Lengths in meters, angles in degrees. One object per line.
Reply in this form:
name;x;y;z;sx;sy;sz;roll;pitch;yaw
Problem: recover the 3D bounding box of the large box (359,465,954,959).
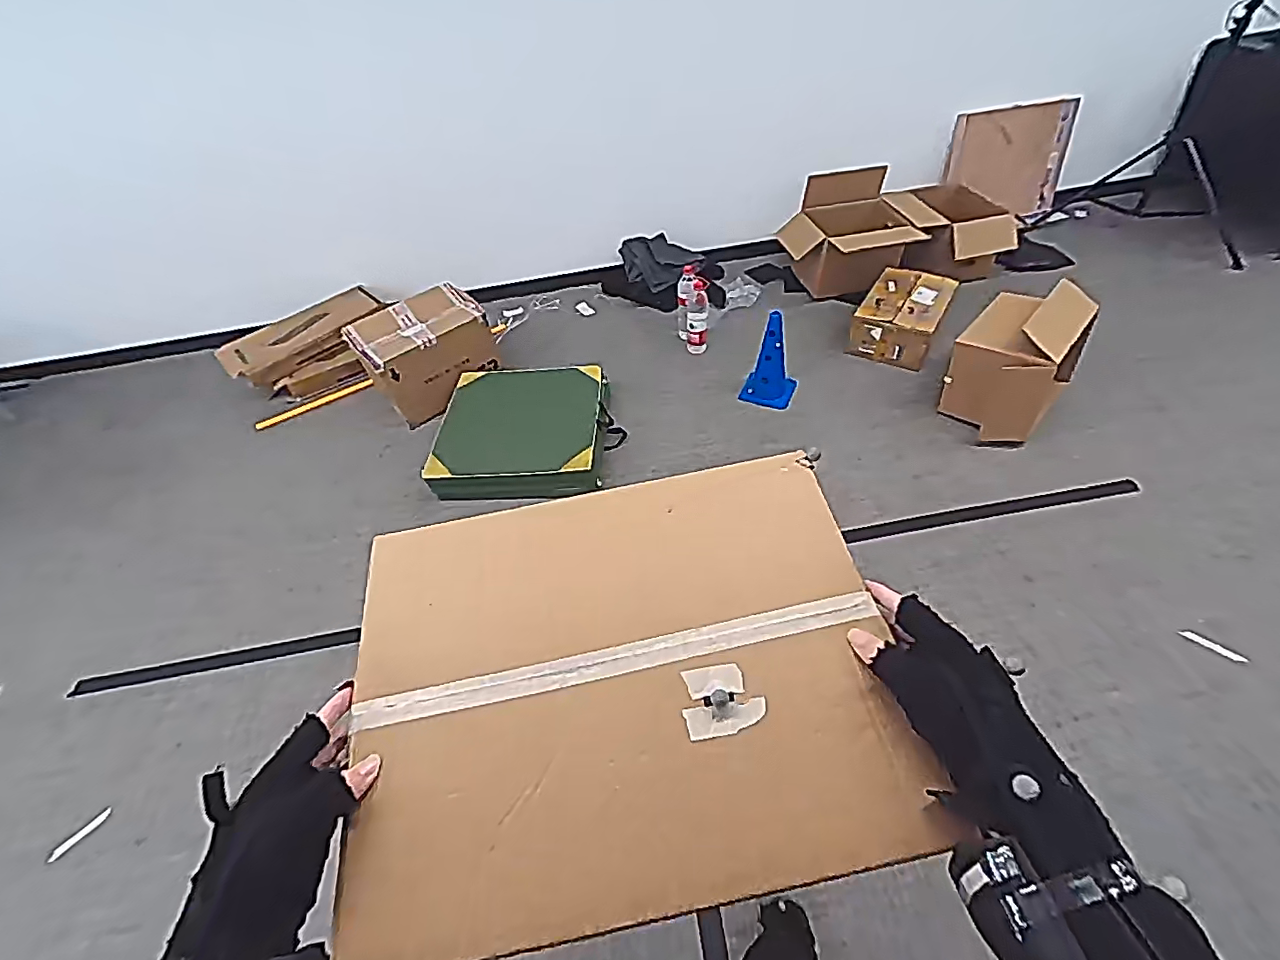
large box;-0.002;0.231;0.552;0.408;0.320;0.320;-11;56;-2
